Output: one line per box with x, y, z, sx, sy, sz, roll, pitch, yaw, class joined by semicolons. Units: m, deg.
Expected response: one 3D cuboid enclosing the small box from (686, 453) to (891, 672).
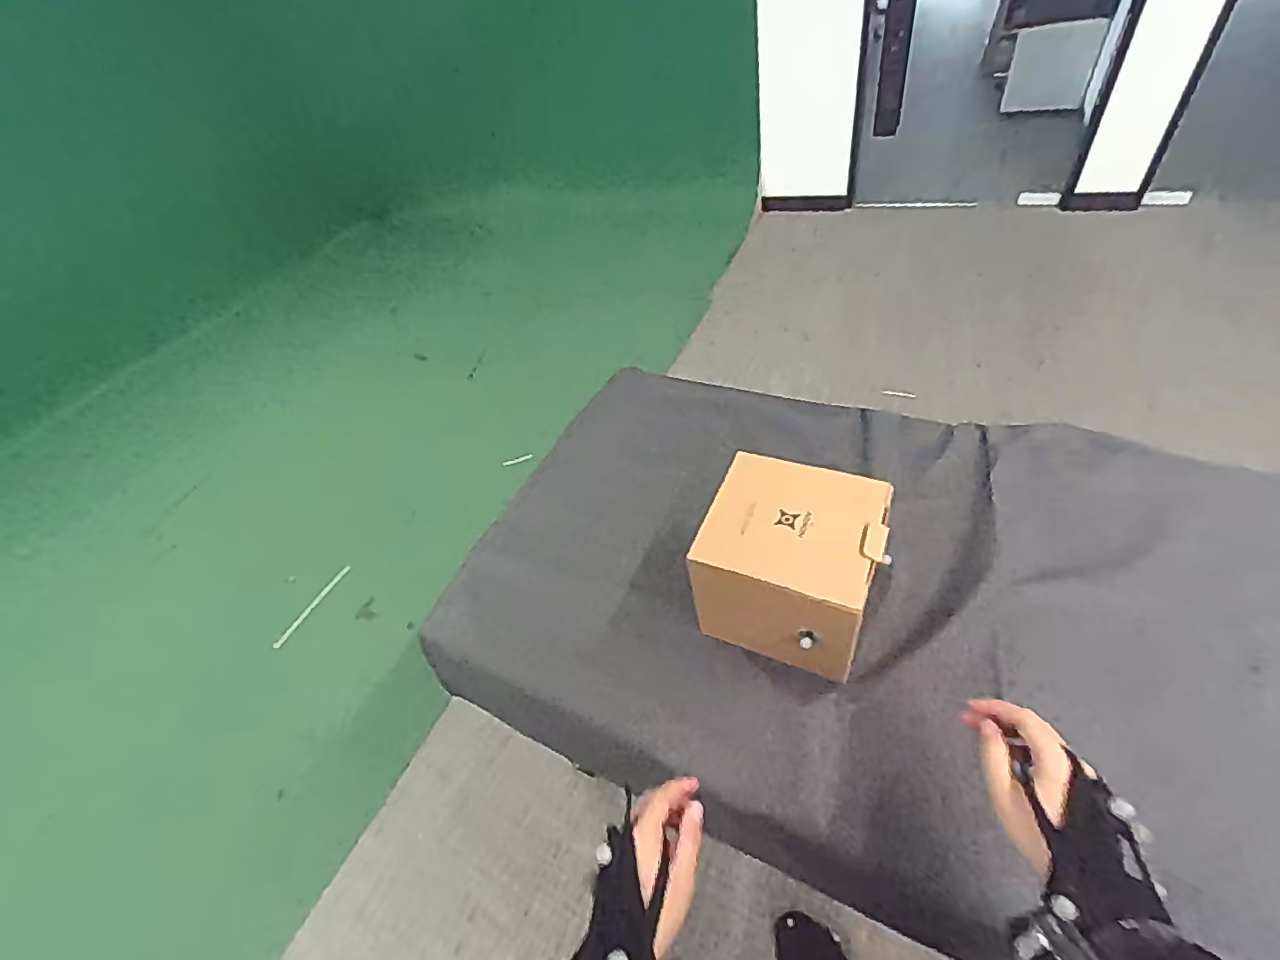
0.173;0.097;0.628;0.179;0.176;0.168;13;51;25;small box
